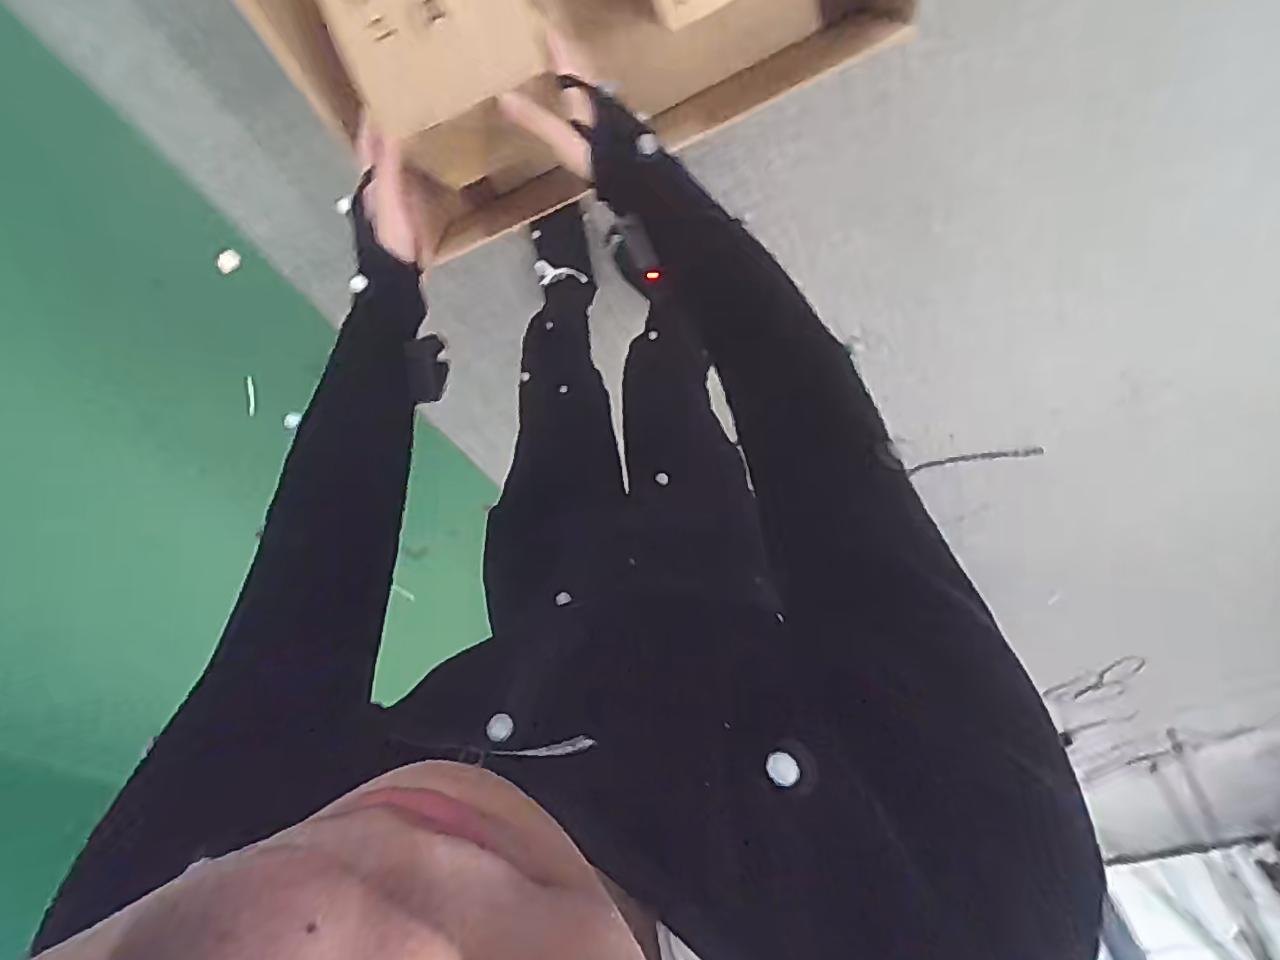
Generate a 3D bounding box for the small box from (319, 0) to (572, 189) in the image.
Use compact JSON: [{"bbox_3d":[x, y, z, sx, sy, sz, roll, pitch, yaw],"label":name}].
[{"bbox_3d":[-0.181,-0.431,0.553,0.179,0.176,0.168,-19,102,11],"label":"small box"}]
